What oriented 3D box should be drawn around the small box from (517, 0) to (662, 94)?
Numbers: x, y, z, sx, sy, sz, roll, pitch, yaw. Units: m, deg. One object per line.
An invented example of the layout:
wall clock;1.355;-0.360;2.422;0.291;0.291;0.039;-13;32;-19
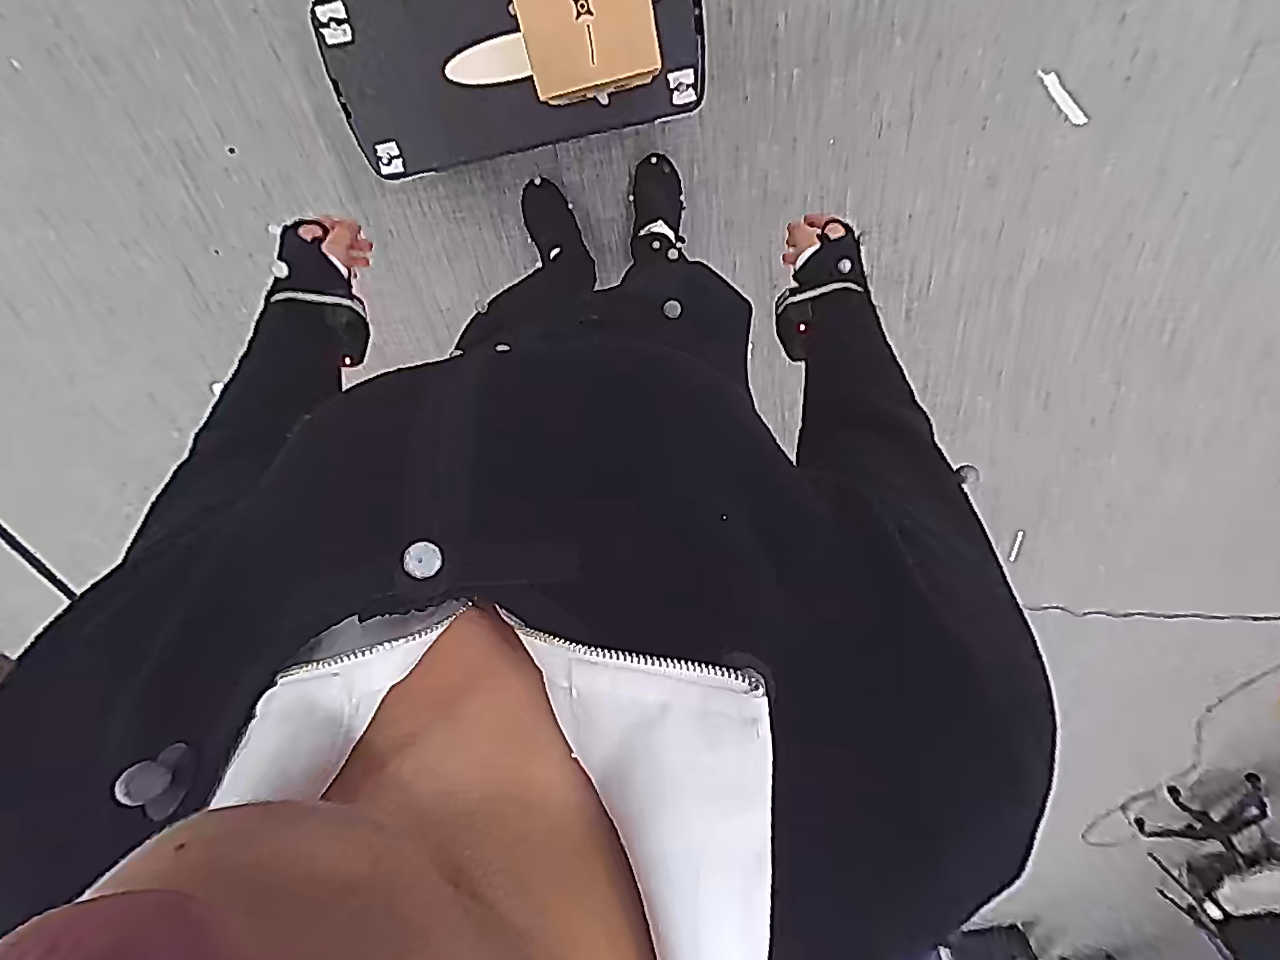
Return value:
small box;-0.069;-0.634;0.718;0.168;0.176;0.179;-10;126;7
